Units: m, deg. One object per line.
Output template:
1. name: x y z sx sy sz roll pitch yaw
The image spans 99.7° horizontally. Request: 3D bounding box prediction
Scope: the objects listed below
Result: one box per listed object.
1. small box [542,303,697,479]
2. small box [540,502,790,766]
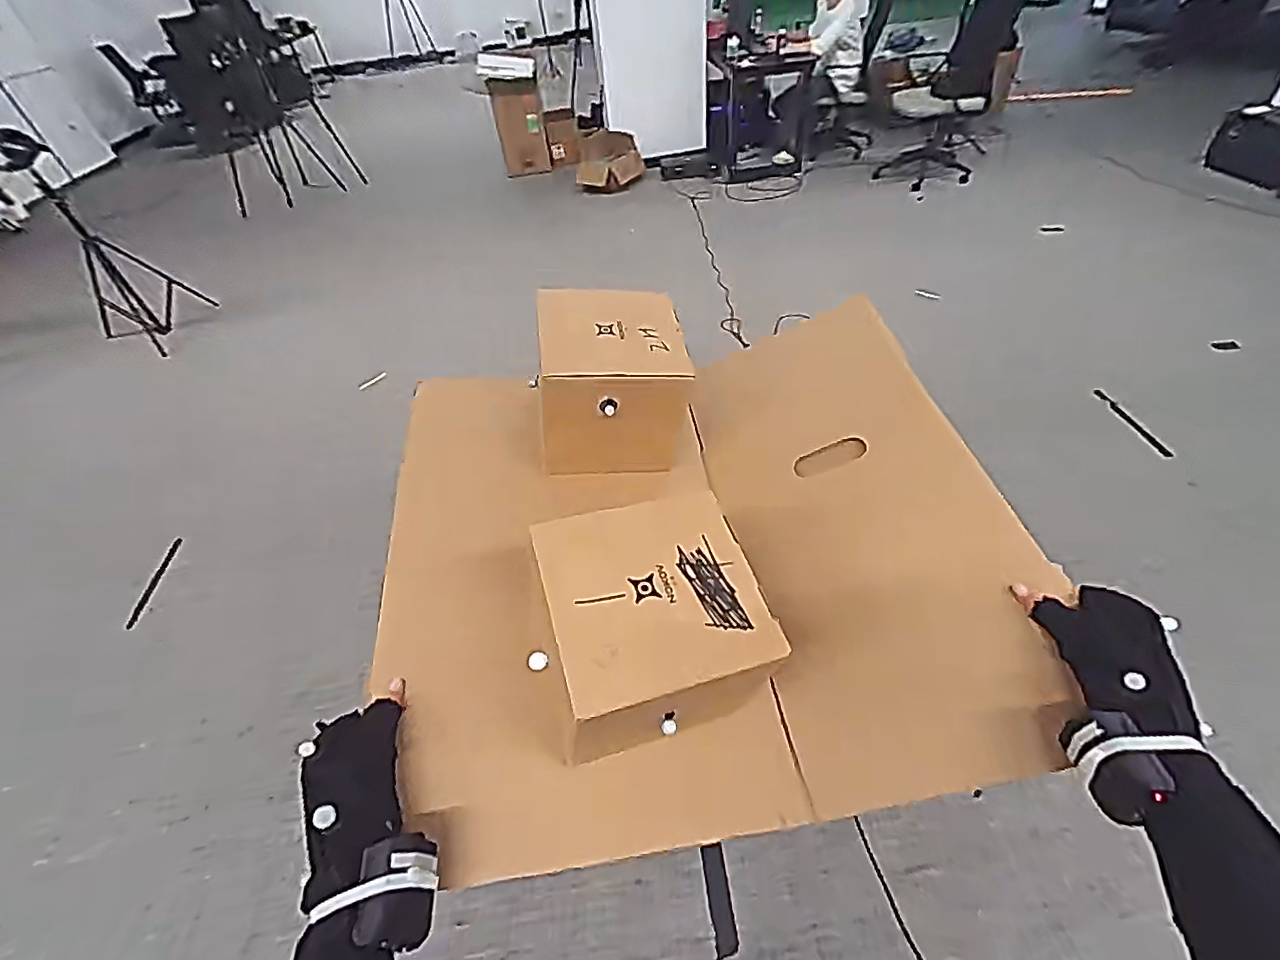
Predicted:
1. small box: -0.038 -0.113 0.716 0.179 0.176 0.168 -1 51 -11
2. small box: 0.006 0.146 0.512 0.179 0.176 0.168 -10 54 -16
